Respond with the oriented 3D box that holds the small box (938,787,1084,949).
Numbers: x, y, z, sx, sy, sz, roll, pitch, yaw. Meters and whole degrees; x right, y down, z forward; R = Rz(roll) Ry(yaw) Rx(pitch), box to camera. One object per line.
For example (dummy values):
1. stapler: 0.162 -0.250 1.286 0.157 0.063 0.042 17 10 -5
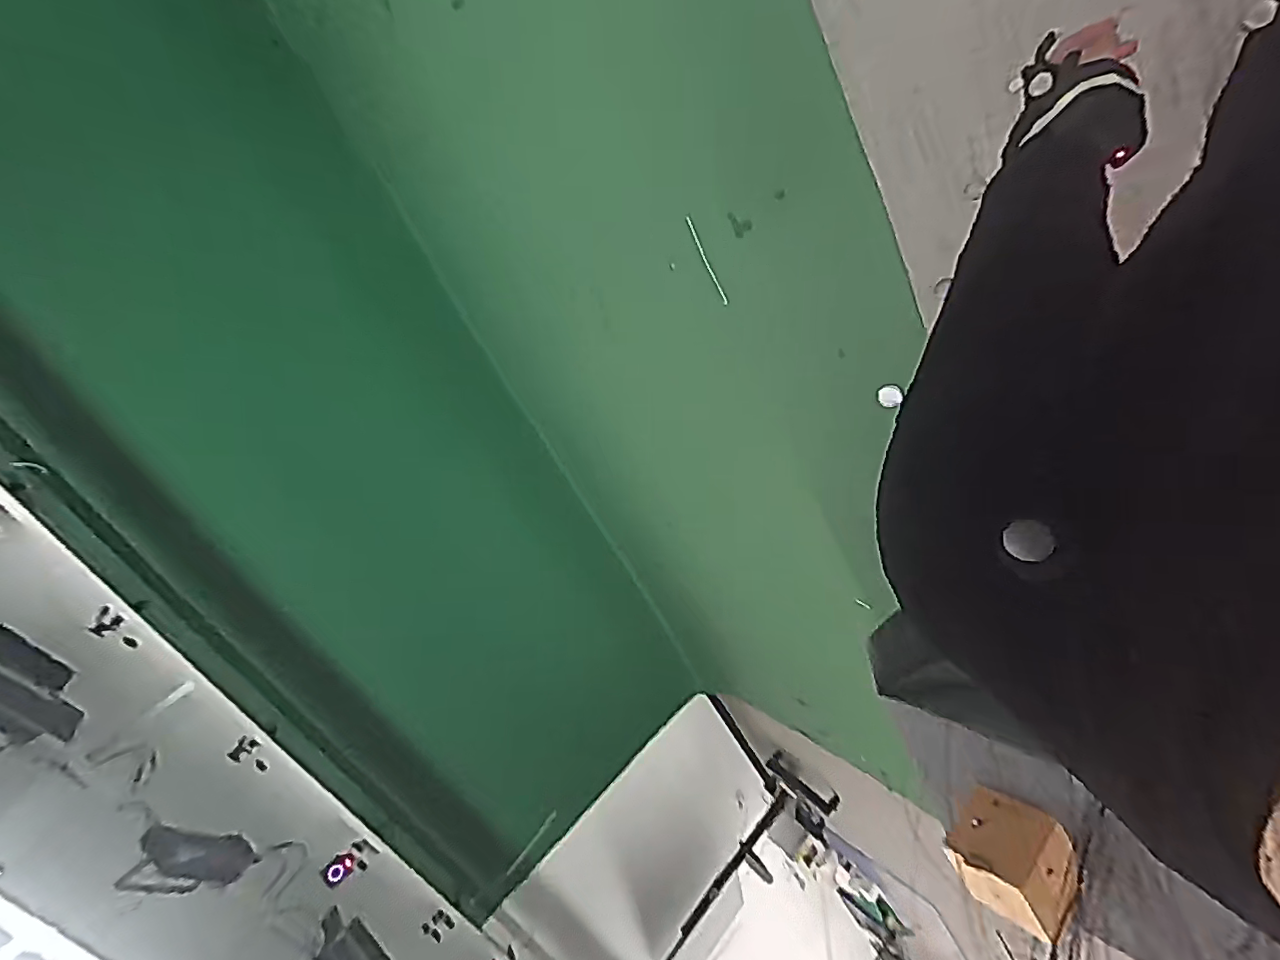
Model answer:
1. small box: 0.762 0.780 1.110 0.179 0.176 0.168 55 157 -13
